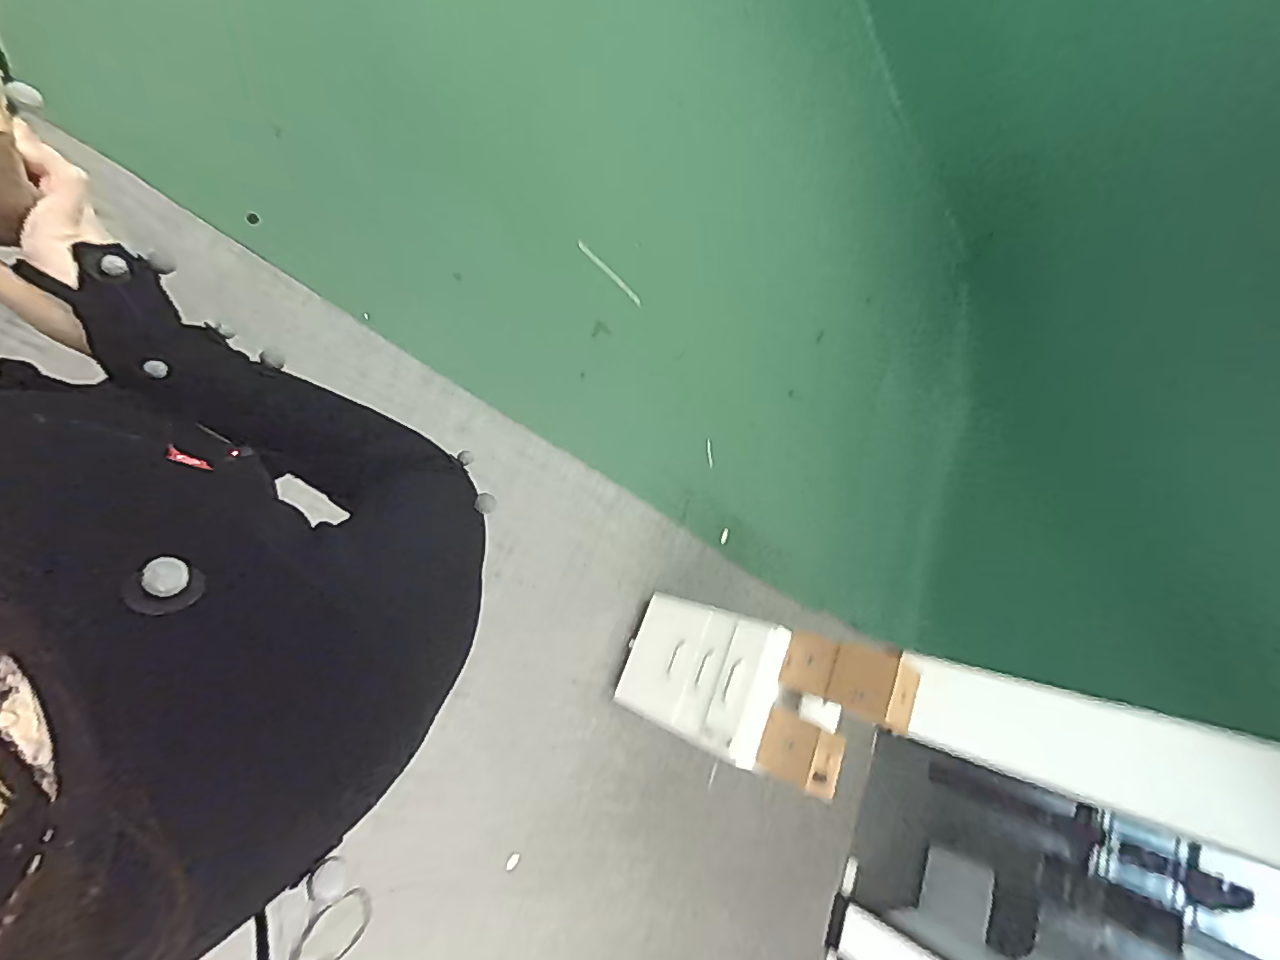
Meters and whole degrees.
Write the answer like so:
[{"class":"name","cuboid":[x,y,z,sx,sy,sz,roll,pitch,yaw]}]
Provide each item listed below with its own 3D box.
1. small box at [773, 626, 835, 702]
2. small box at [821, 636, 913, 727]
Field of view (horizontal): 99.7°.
[{"class":"small box","cuboid":[0.533,0.559,1.640,0.179,0.176,0.168,36,70,-36]},{"class":"small box","cuboid":[0.630,0.558,1.509,0.168,0.176,0.179,36,69,-38]}]
